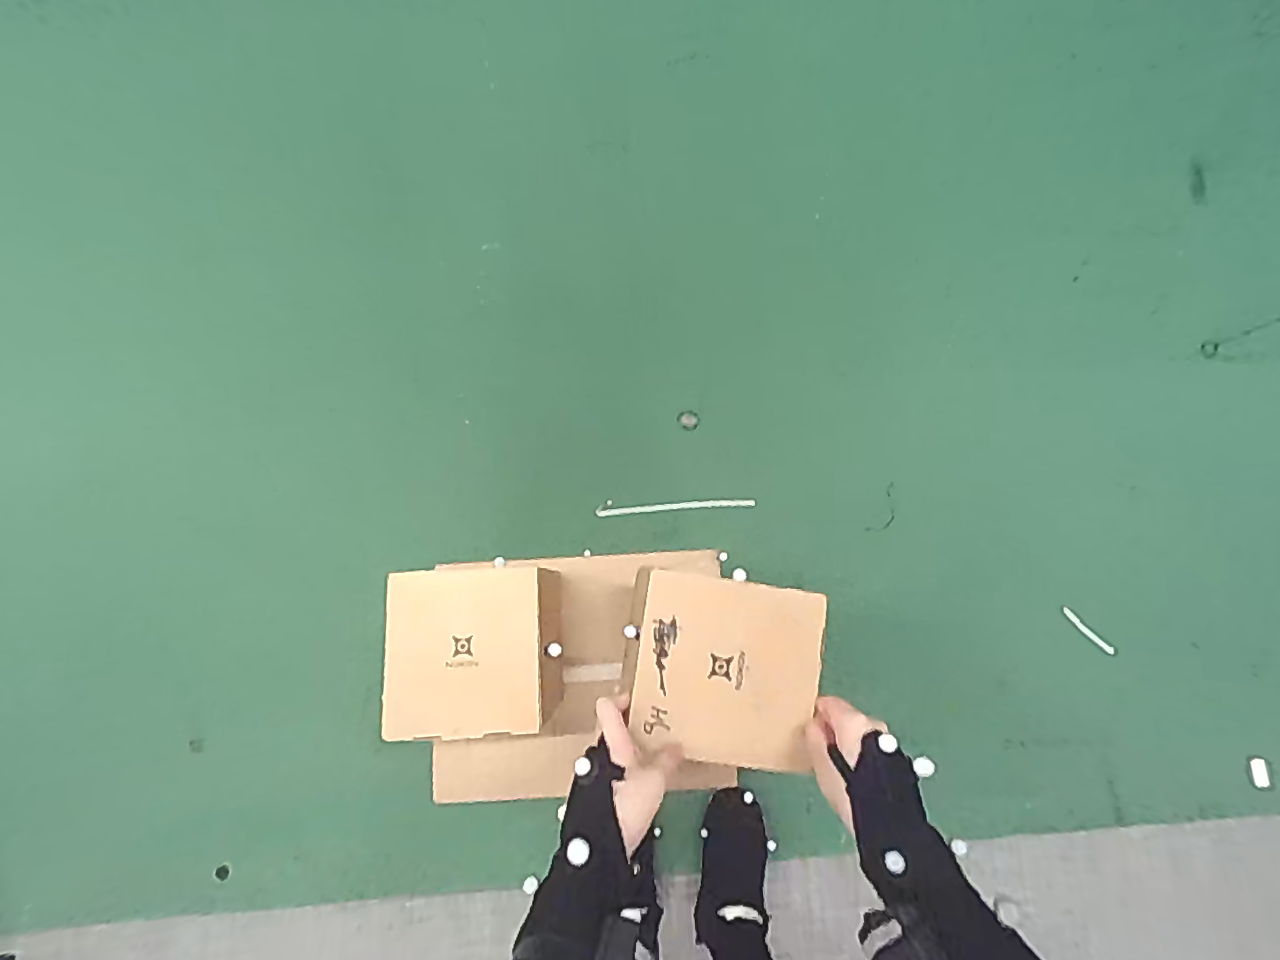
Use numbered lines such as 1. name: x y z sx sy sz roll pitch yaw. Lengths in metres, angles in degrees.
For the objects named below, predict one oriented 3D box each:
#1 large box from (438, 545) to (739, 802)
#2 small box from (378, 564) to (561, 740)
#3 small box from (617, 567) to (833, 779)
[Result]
1. large box: -0.078 0.284 0.880 0.408 0.320 0.320 -3 80 -1
2. small box: -0.190 0.197 0.649 0.168 0.176 0.179 -2 78 0
3. small box: 0.076 0.185 0.567 0.179 0.176 0.168 10 80 -3
